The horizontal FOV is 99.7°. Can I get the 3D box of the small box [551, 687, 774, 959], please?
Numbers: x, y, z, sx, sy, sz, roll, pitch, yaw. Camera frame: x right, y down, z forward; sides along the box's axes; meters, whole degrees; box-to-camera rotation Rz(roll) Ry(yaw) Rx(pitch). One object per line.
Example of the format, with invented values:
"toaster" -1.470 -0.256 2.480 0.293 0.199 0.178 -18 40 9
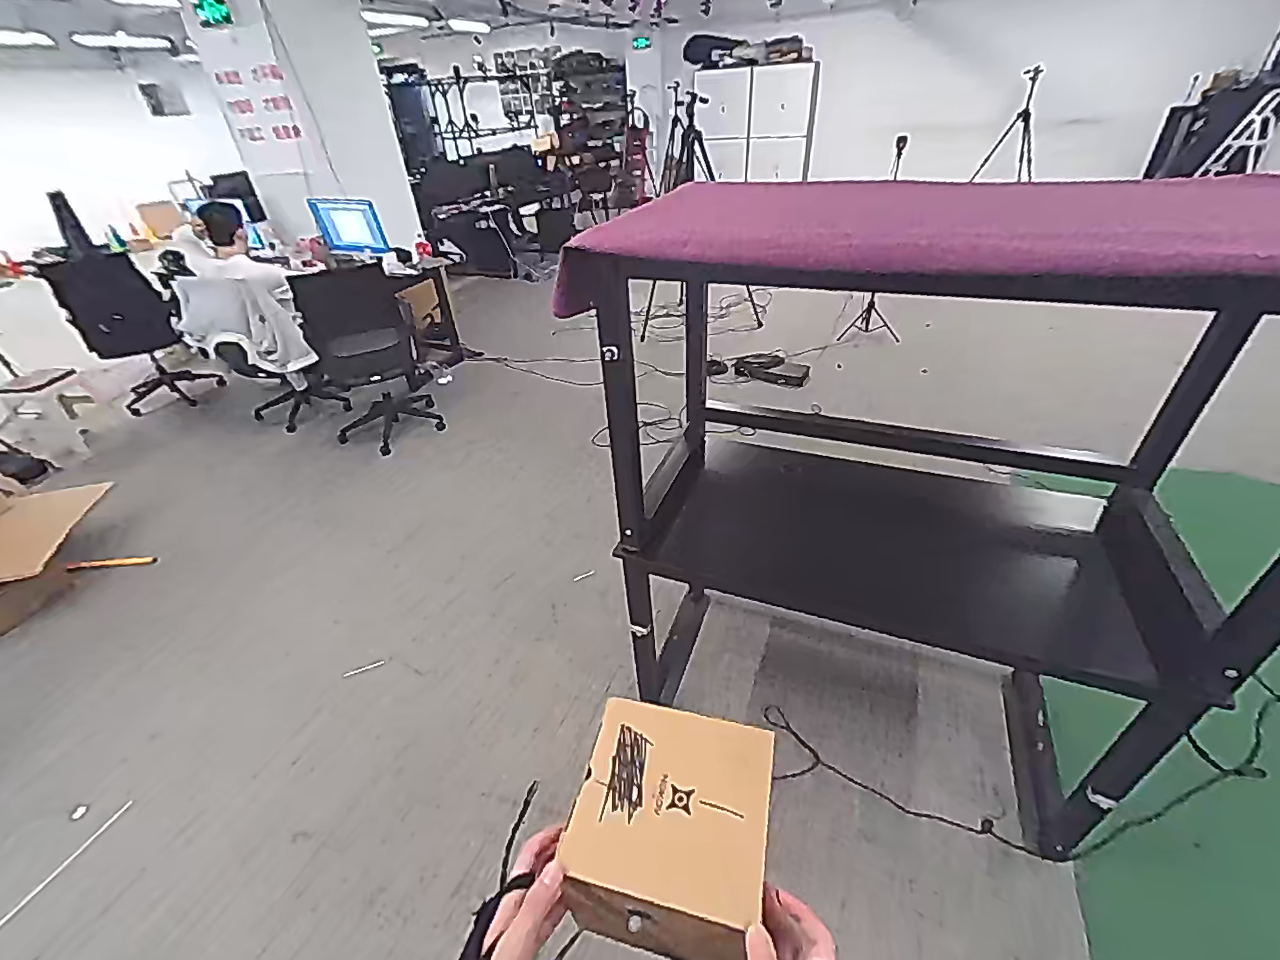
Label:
"small box" 0.033 0.342 0.543 0.179 0.176 0.168 7 39 15
